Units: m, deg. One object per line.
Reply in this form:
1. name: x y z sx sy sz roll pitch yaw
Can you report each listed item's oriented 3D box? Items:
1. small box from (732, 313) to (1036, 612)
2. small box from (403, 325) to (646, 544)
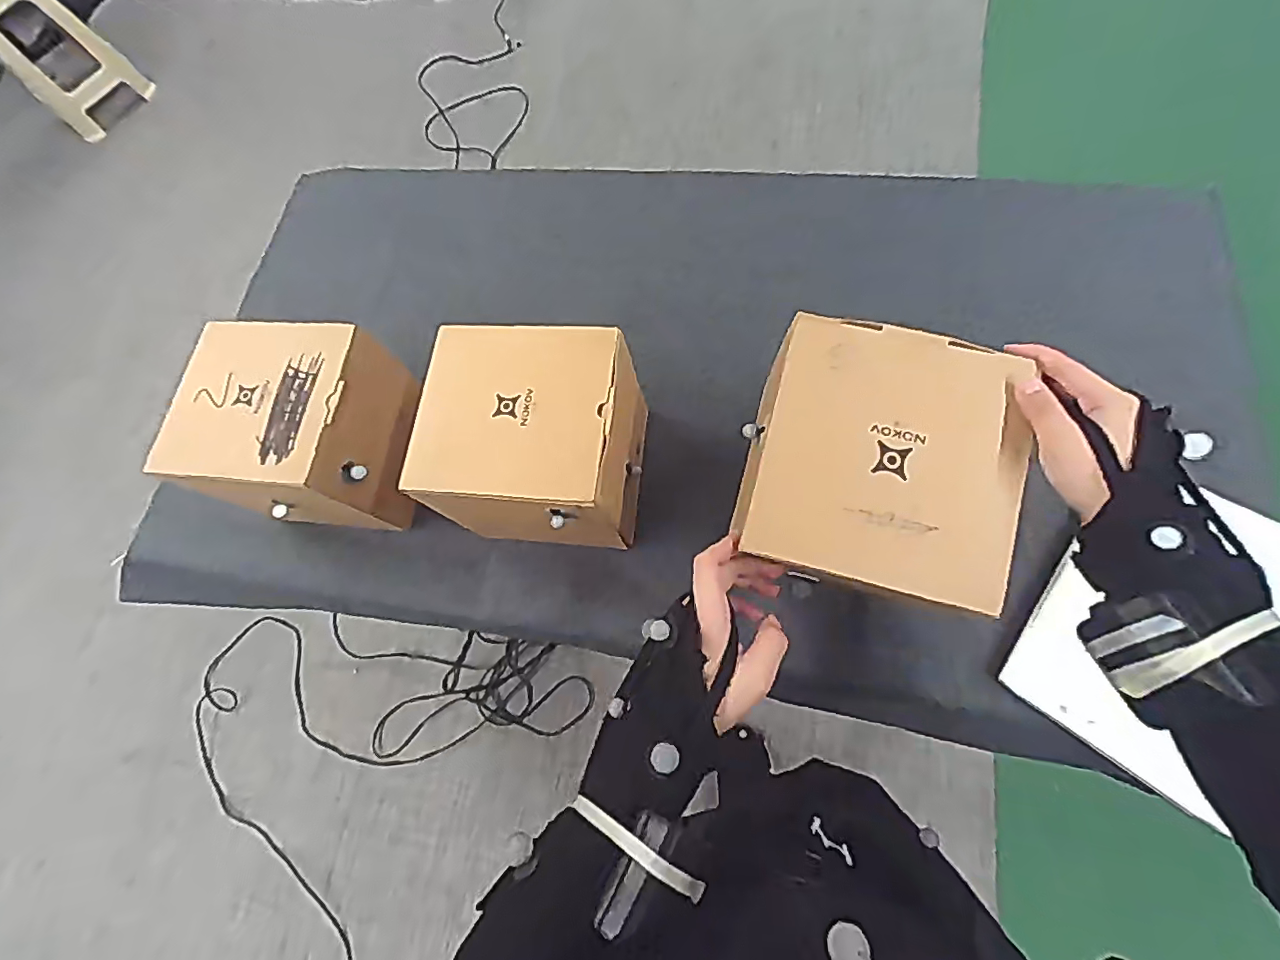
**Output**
1. small box: 0.175 -0.005 0.440 0.168 0.176 0.179 13 82 8
2. small box: -0.098 -0.036 0.545 0.179 0.176 0.168 3 71 9
